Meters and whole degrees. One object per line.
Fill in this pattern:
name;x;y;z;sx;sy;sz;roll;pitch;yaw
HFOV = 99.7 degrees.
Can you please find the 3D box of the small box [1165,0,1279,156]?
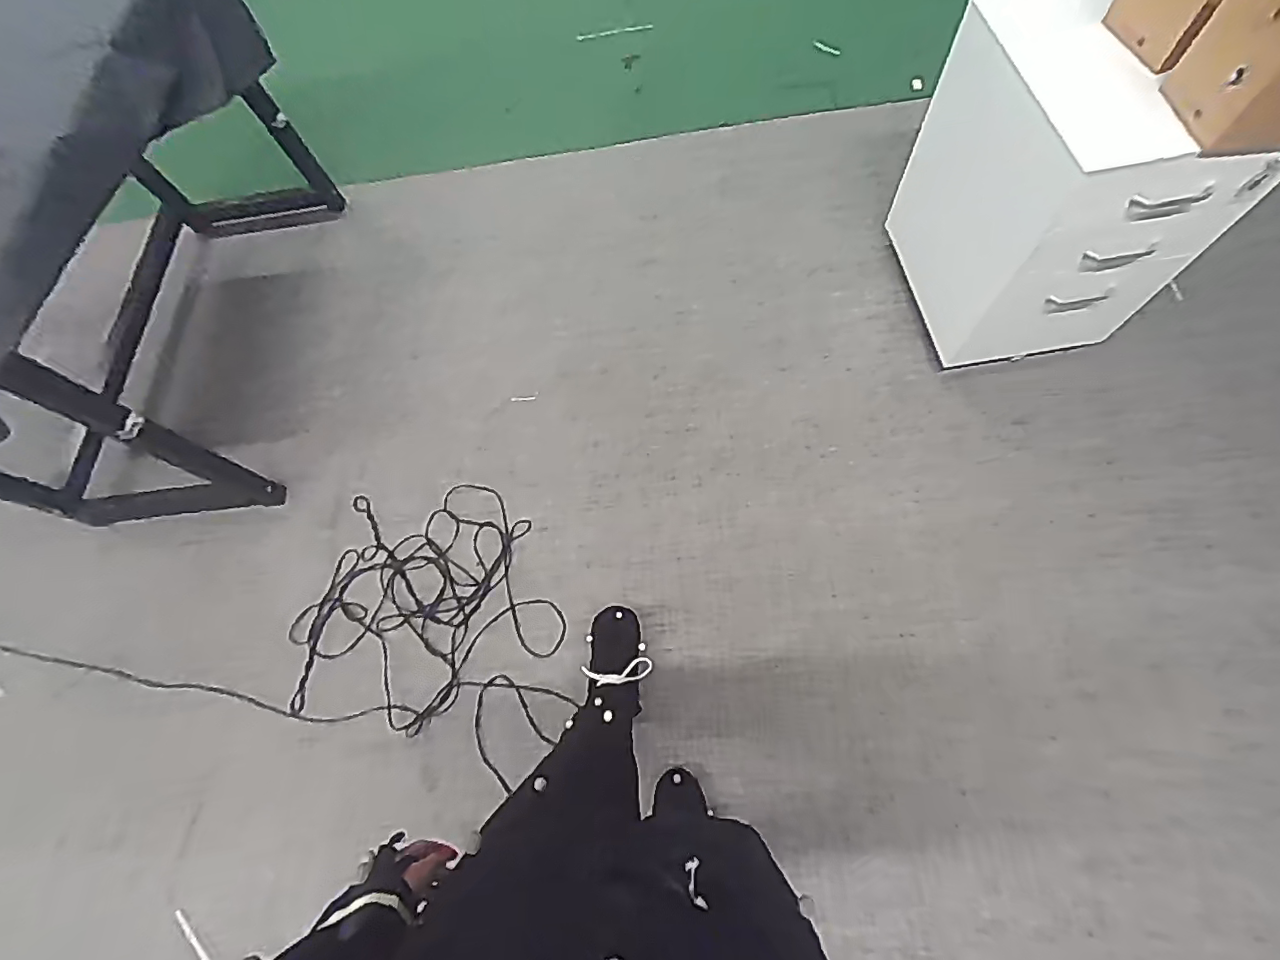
small box;0.957;-0.620;0.813;0.179;0.176;0.168;-6;67;4
